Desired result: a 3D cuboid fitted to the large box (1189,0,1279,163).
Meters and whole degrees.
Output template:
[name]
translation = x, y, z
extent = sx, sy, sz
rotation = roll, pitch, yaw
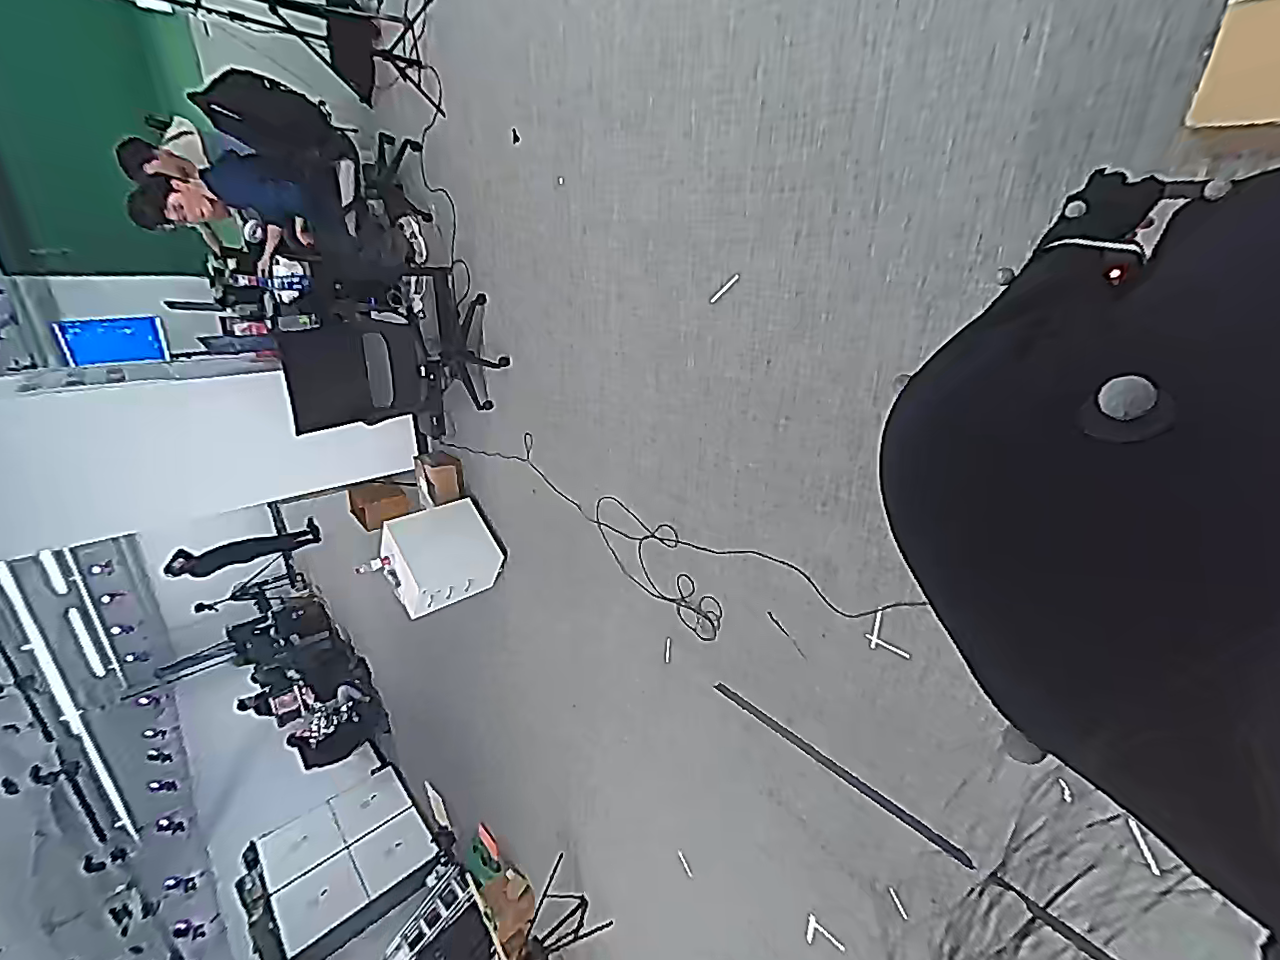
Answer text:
[large box]
translation = 1.051, -0.621, 0.703
extent = 0.408, 0.320, 0.320
rotation = 25, 122, 40
